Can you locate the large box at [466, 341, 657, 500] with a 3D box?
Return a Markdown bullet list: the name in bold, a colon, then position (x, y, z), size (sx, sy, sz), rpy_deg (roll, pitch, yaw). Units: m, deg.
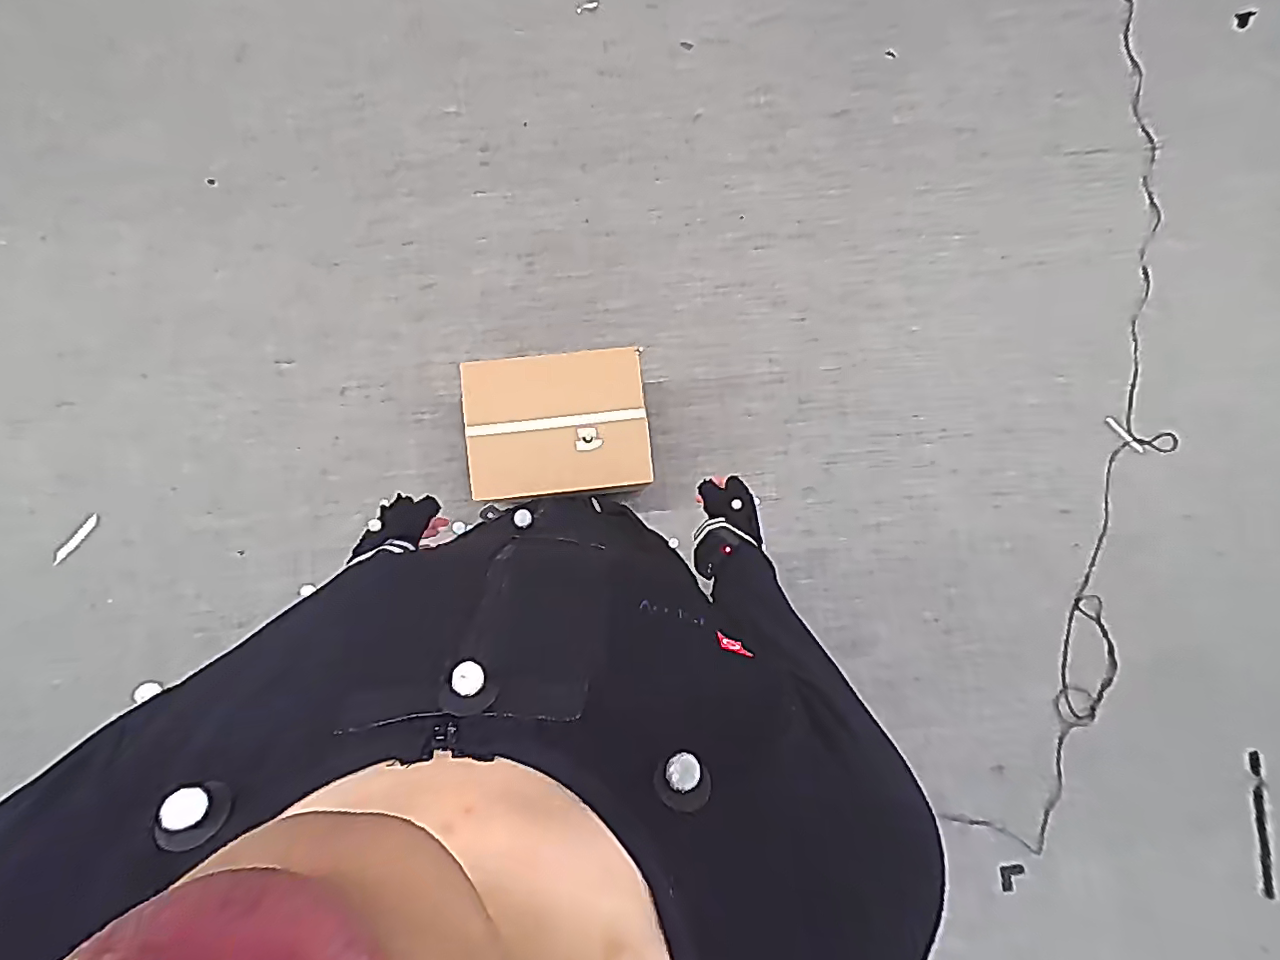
- **large box**: position (-0.185, -0.130, 1.357), size (0.408, 0.320, 0.320), rpy_deg (-7, 87, -3)
